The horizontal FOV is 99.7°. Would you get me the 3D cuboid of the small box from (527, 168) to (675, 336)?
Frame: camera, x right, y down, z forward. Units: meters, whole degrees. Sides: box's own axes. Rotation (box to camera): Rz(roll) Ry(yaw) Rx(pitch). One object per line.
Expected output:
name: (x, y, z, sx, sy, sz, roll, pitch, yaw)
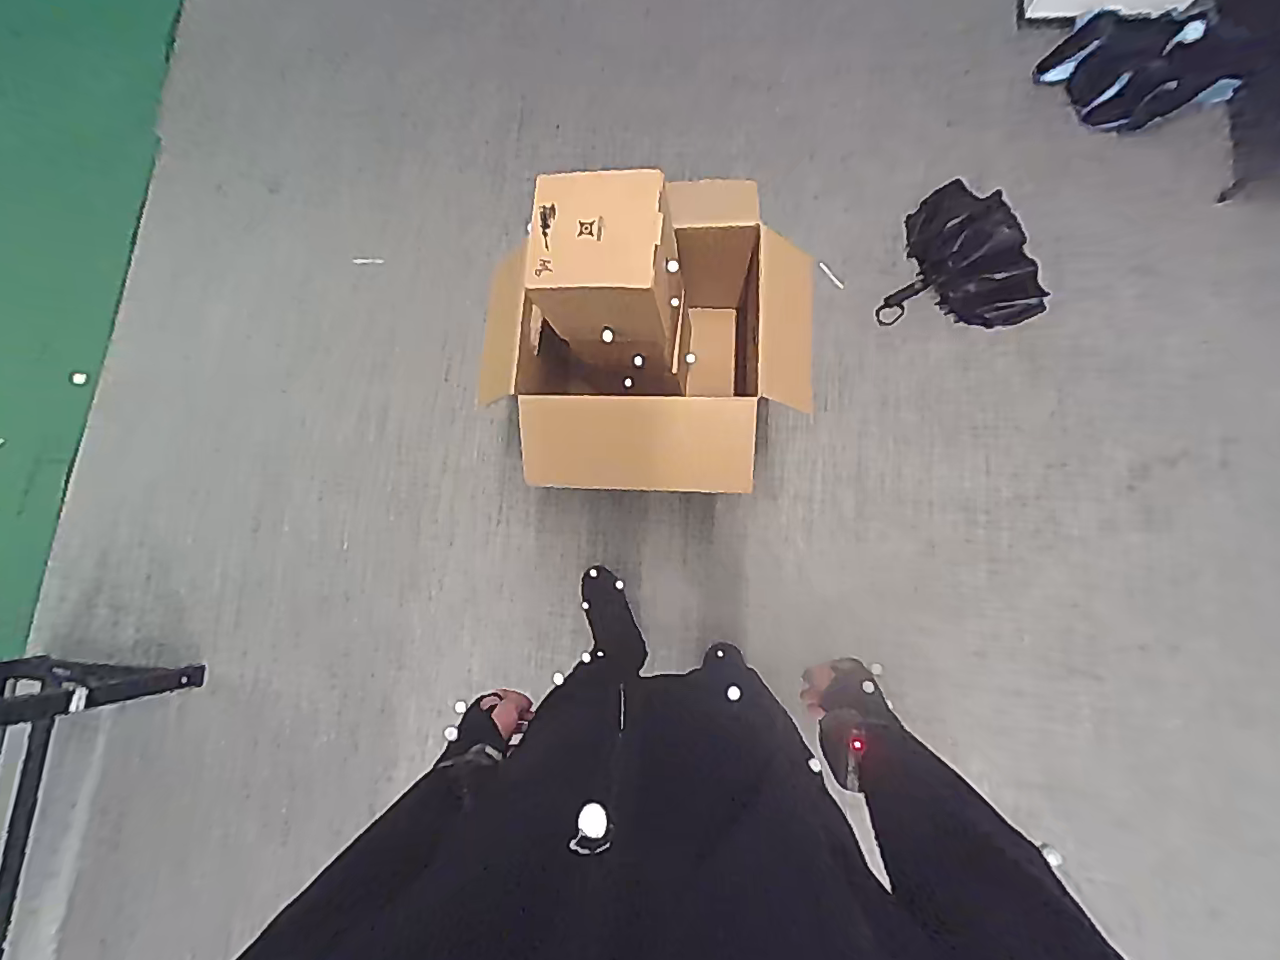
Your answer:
small box: (-0.045, -0.319, 0.782, 0.179, 0.176, 0.168, 4, 82, 9)
